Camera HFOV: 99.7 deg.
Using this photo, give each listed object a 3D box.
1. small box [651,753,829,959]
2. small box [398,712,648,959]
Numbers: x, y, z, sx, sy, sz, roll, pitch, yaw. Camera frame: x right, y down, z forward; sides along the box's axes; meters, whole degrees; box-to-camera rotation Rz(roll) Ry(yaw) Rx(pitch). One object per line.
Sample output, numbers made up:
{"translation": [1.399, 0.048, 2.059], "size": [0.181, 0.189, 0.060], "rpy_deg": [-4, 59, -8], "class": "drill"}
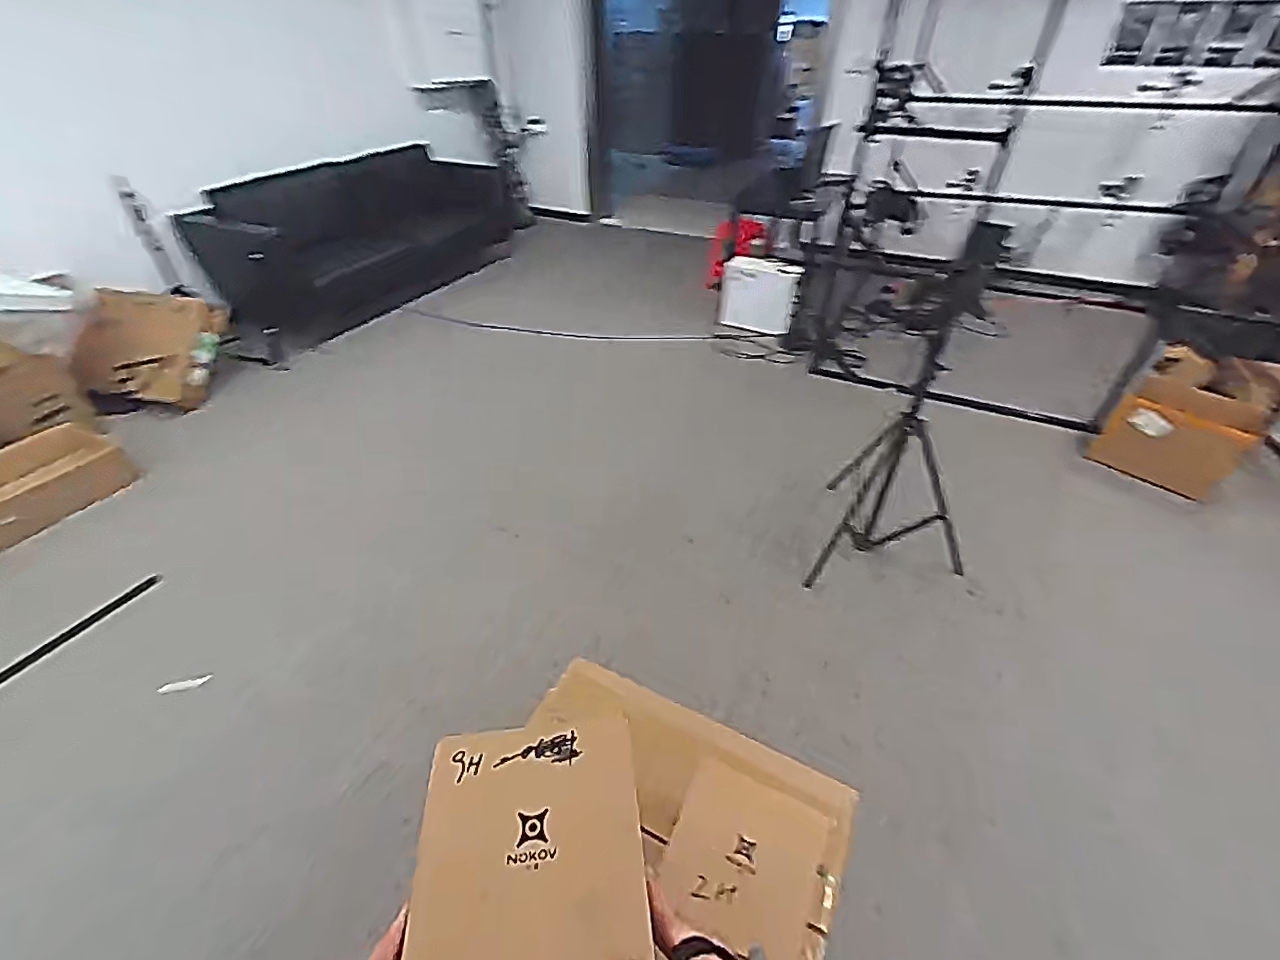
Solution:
{"translation": [0.122, 0.496, 0.684], "size": [0.168, 0.176, 0.179], "rpy_deg": [17, 43, 22], "class": "small box"}
{"translation": [-0.085, 0.328, 0.457], "size": [0.168, 0.176, 0.179], "rpy_deg": [-6, 42, -6], "class": "small box"}
